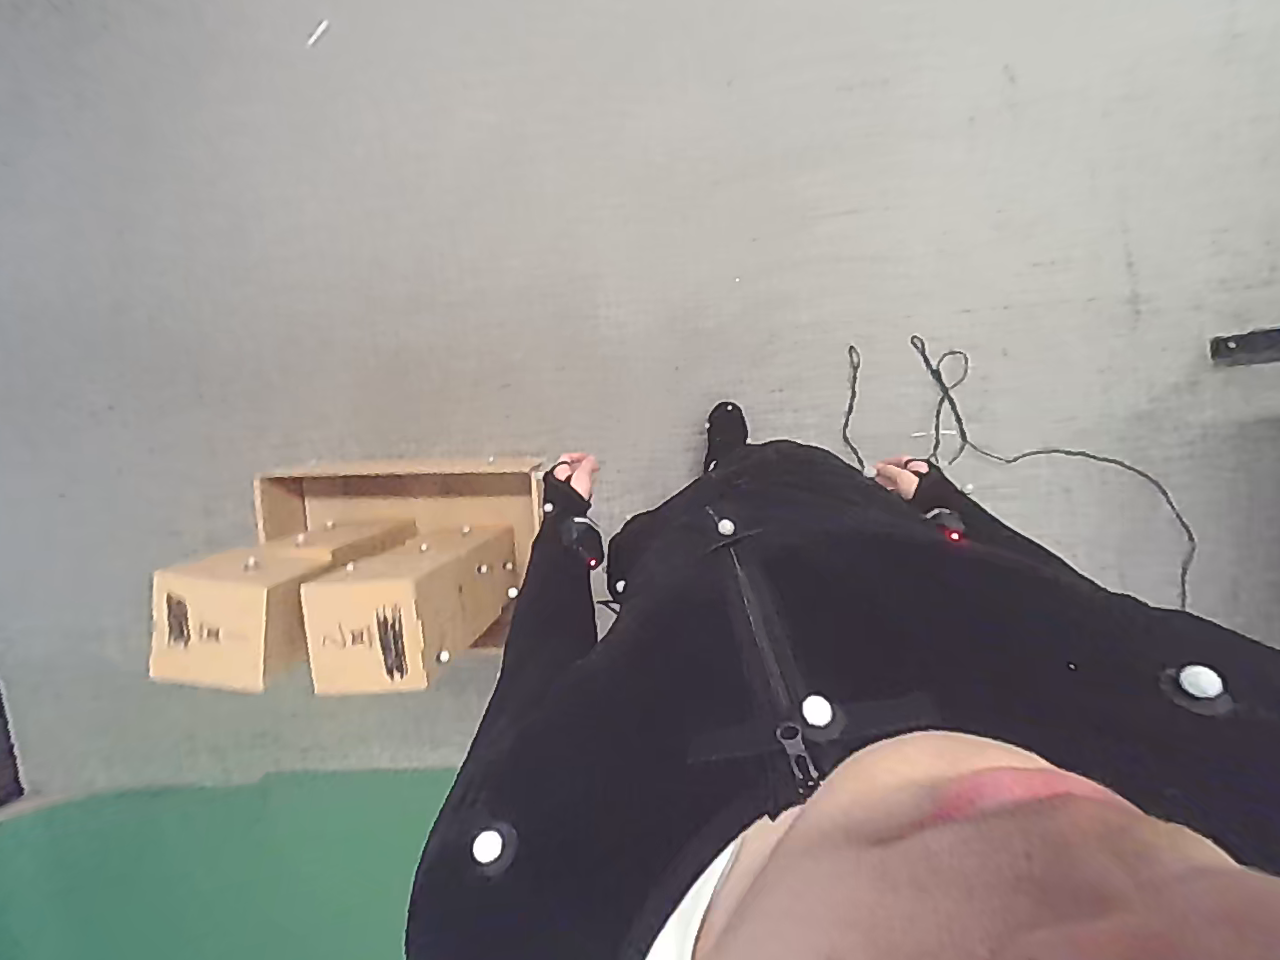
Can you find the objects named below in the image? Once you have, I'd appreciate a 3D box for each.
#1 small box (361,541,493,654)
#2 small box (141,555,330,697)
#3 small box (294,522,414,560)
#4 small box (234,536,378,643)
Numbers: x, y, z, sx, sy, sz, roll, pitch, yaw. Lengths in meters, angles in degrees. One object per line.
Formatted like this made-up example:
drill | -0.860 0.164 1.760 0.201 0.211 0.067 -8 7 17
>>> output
small box | -0.385 0.213 1.013 0.179 0.176 0.168 -4 94 5
small box | -0.639 0.223 0.870 0.179 0.176 0.168 7 95 1
small box | -0.620 0.189 1.194 0.179 0.176 0.168 -2 96 3
small box | -0.626 0.203 1.033 0.179 0.176 0.168 -3 95 3
